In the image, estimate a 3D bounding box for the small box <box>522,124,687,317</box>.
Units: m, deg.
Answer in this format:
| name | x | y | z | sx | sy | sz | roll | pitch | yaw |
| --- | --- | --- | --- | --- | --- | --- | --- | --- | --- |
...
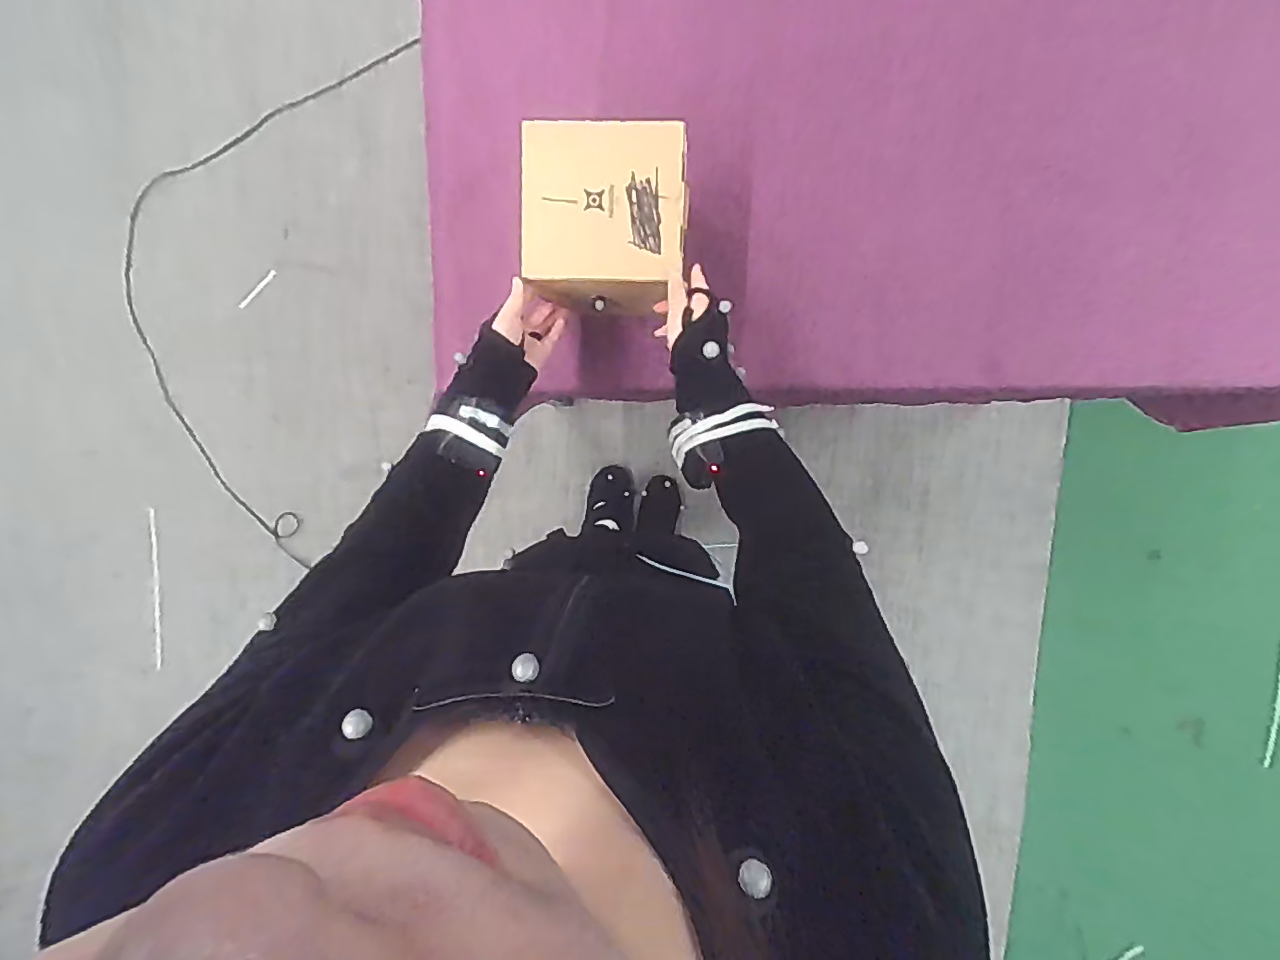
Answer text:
| name | x | y | z | sx | sy | sz | roll | pitch | yaw |
| --- | --- | --- | --- | --- | --- | --- | --- | --- | --- |
| small box | -0.037 | -0.301 | 0.660 | 0.179 | 0.176 | 0.168 | 2 | 94 | 2 |
